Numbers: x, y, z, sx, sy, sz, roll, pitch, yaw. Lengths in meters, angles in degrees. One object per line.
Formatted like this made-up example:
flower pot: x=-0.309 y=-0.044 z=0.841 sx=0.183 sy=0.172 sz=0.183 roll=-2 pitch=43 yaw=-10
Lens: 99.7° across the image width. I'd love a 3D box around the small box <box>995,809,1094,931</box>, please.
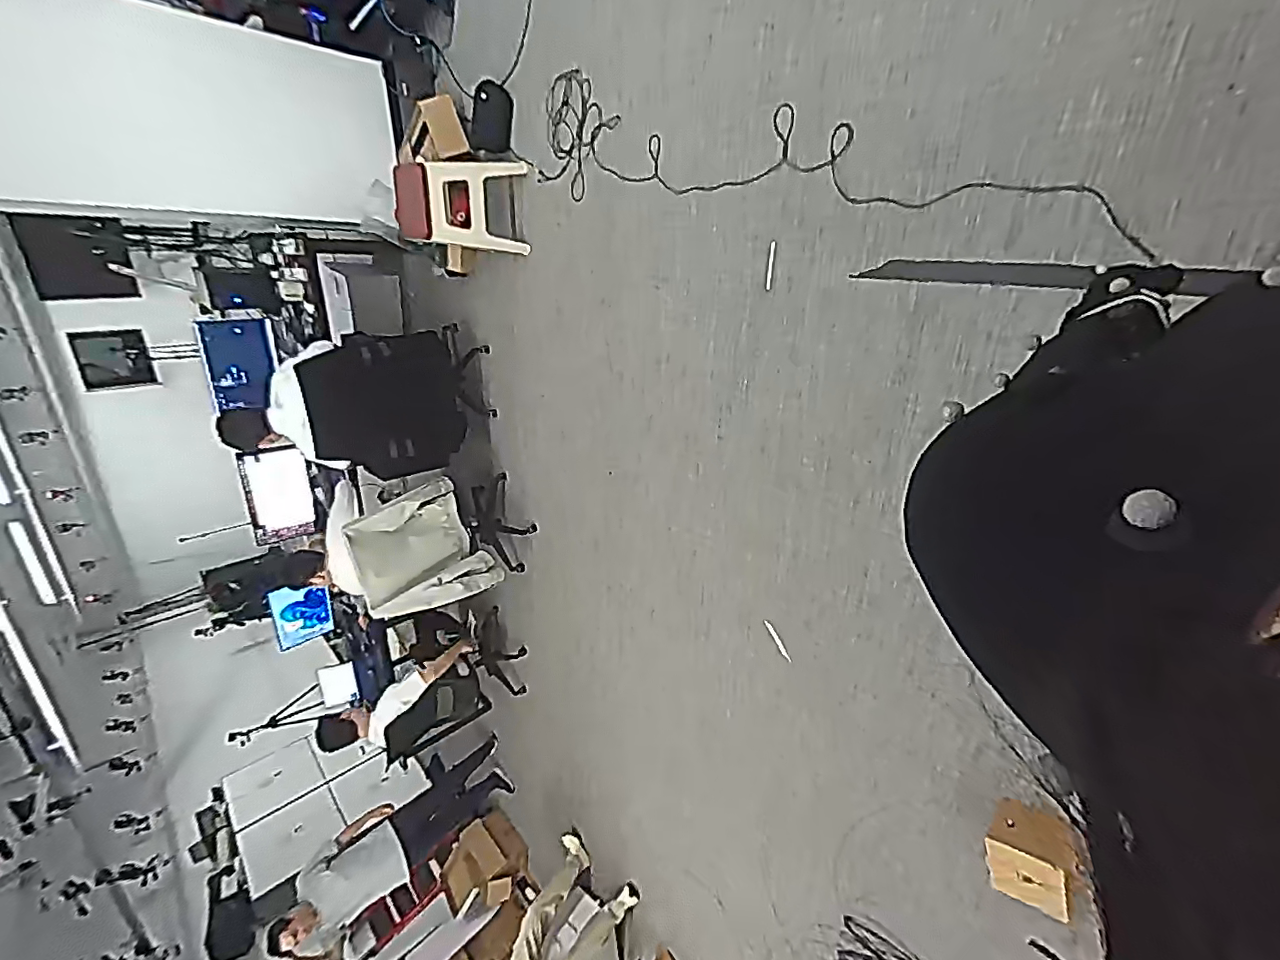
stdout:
small box: x=1.074 y=1.018 z=1.434 sx=0.179 sy=0.176 sz=0.168 roll=-3 pitch=102 yaw=48
